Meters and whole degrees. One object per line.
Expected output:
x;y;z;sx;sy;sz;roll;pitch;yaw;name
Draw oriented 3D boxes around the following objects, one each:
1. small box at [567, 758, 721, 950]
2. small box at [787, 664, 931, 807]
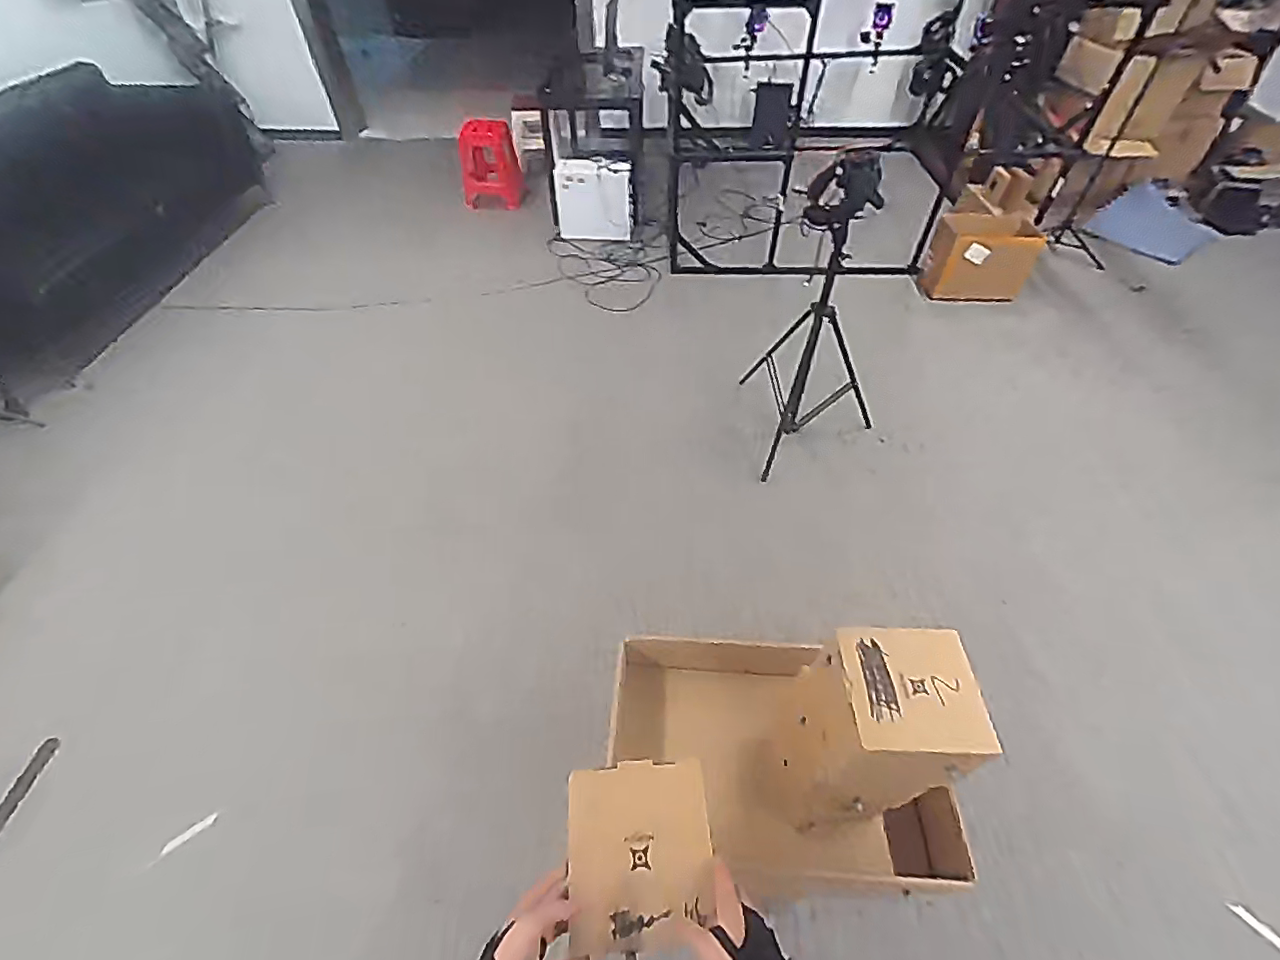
0.001;0.470;0.680;0.168;0.176;0.179;-4;51;-2;small box
0.351;0.429;0.907;0.168;0.176;0.179;1;49;3;small box
